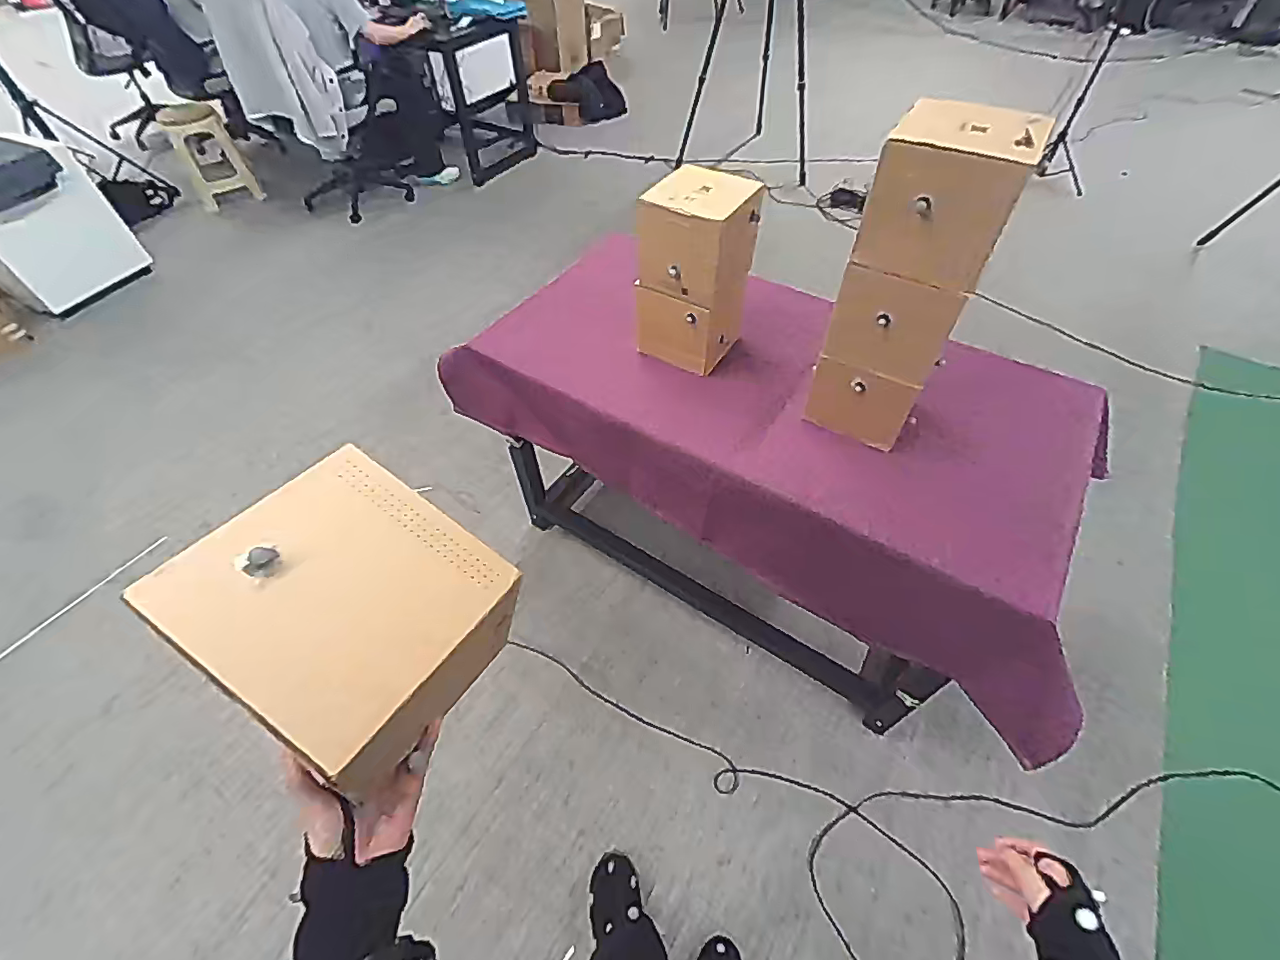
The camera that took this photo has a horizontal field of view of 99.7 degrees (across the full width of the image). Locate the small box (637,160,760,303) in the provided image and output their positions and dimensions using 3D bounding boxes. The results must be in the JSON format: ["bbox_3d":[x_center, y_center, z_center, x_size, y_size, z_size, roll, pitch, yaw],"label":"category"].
[{"bbox_3d":[0.105,-0.467,1.018,0.168,0.176,0.179,26,57,20],"label":"small box"}]

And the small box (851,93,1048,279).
[{"bbox_3d":[0.416,-0.405,0.749,0.179,0.176,0.168,25,57,21],"label":"small box"}]

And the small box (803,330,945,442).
[{"bbox_3d":[0.424,-0.198,1.005,0.179,0.176,0.168,27,58,21],"label":"small box"}]

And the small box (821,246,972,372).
[{"bbox_3d":[0.420,-0.301,0.877,0.179,0.176,0.168,26,57,21],"label":"small box"}]

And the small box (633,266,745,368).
[{"bbox_3d":[0.100,-0.365,1.149,0.179,0.176,0.168,26,57,19],"label":"small box"}]
